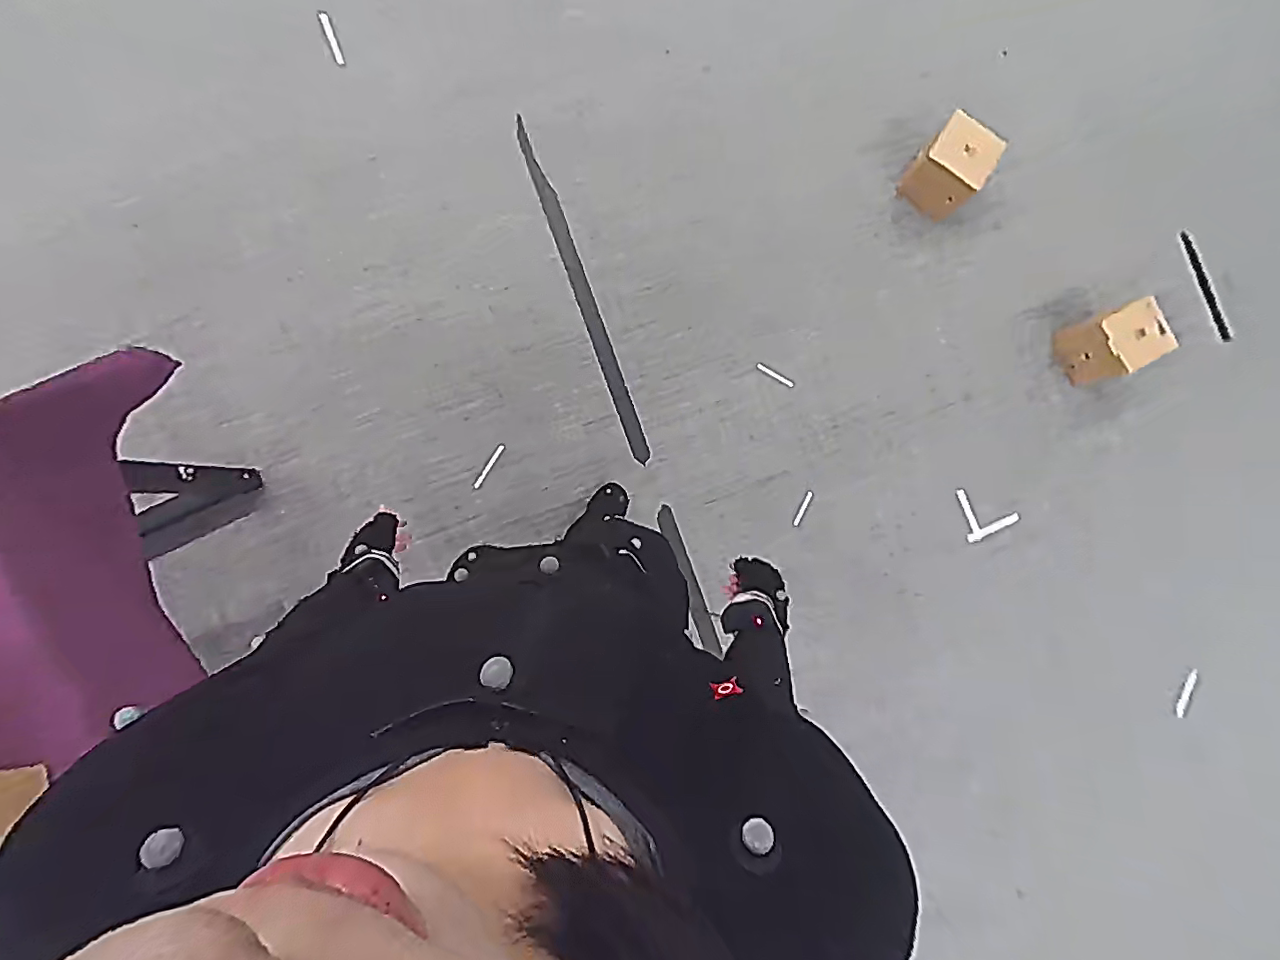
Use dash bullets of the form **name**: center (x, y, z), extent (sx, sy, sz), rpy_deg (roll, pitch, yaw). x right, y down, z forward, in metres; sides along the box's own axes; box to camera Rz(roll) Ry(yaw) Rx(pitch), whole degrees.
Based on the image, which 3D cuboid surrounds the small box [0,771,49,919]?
- **small box**: center (-0.873, 0.474, 0.634), extent (0.179, 0.176, 0.168), rpy_deg (-8, 89, -5)

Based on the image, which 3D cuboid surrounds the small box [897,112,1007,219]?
- **small box**: center (0.883, -0.886, 1.547), extent (0.179, 0.176, 0.168), rpy_deg (32, 85, -2)

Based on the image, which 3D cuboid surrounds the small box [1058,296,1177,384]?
- **small box**: center (1.364, -0.396, 1.563), extent (0.179, 0.176, 0.168), rpy_deg (-28, 91, -4)
